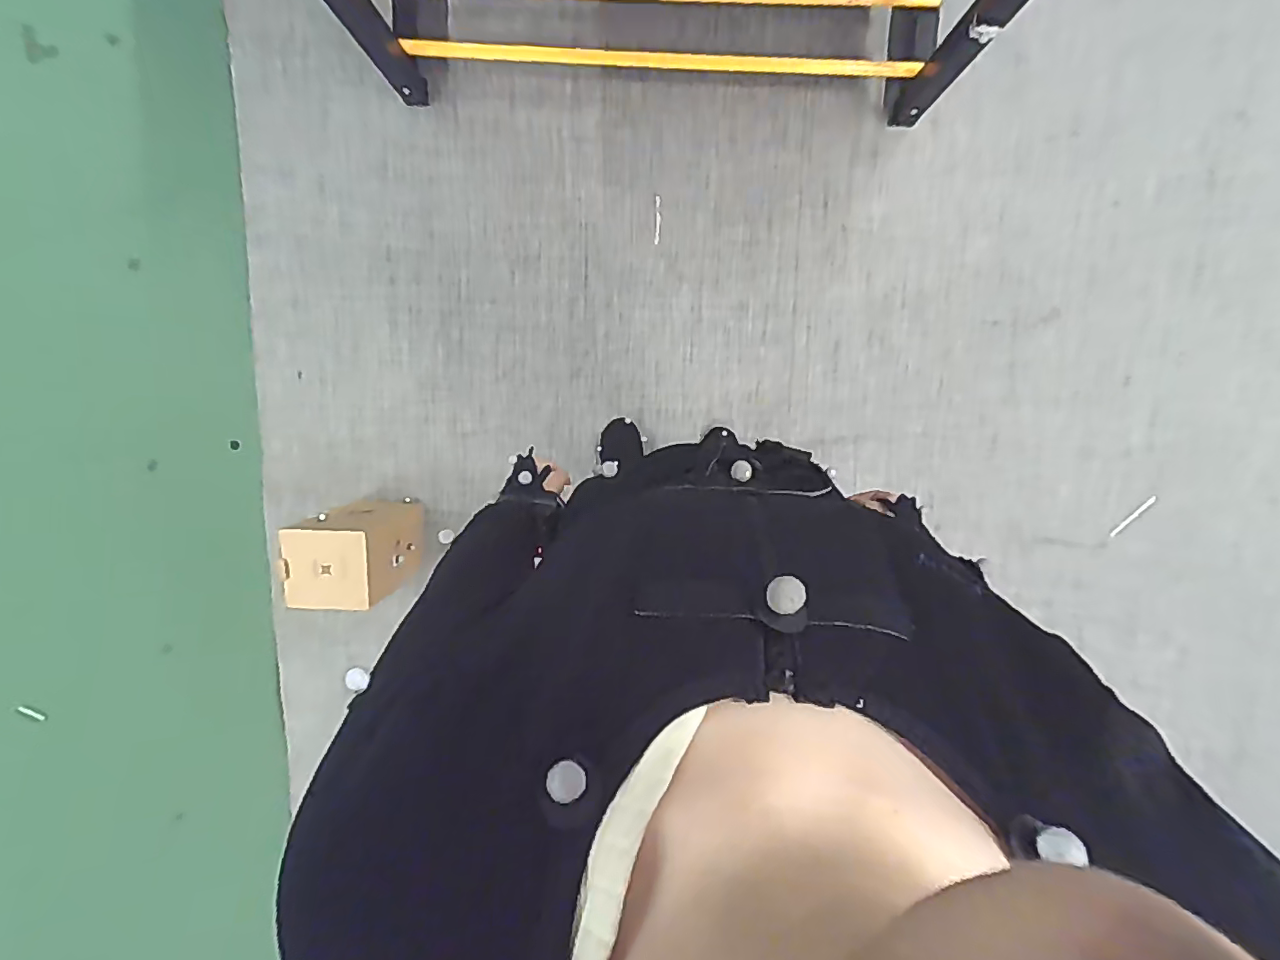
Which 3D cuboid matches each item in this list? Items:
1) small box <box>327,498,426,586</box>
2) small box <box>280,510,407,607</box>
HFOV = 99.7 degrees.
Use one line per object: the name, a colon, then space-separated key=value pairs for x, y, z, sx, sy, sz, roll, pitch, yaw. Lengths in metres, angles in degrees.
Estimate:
small box: x=-0.633 y=0.143 z=1.312 sx=0.168 sy=0.176 sz=0.179 roll=4 pitch=99 yaw=1
small box: x=-0.621 y=0.161 z=1.150 sx=0.179 sy=0.176 sz=0.168 roll=0 pitch=99 yaw=0
